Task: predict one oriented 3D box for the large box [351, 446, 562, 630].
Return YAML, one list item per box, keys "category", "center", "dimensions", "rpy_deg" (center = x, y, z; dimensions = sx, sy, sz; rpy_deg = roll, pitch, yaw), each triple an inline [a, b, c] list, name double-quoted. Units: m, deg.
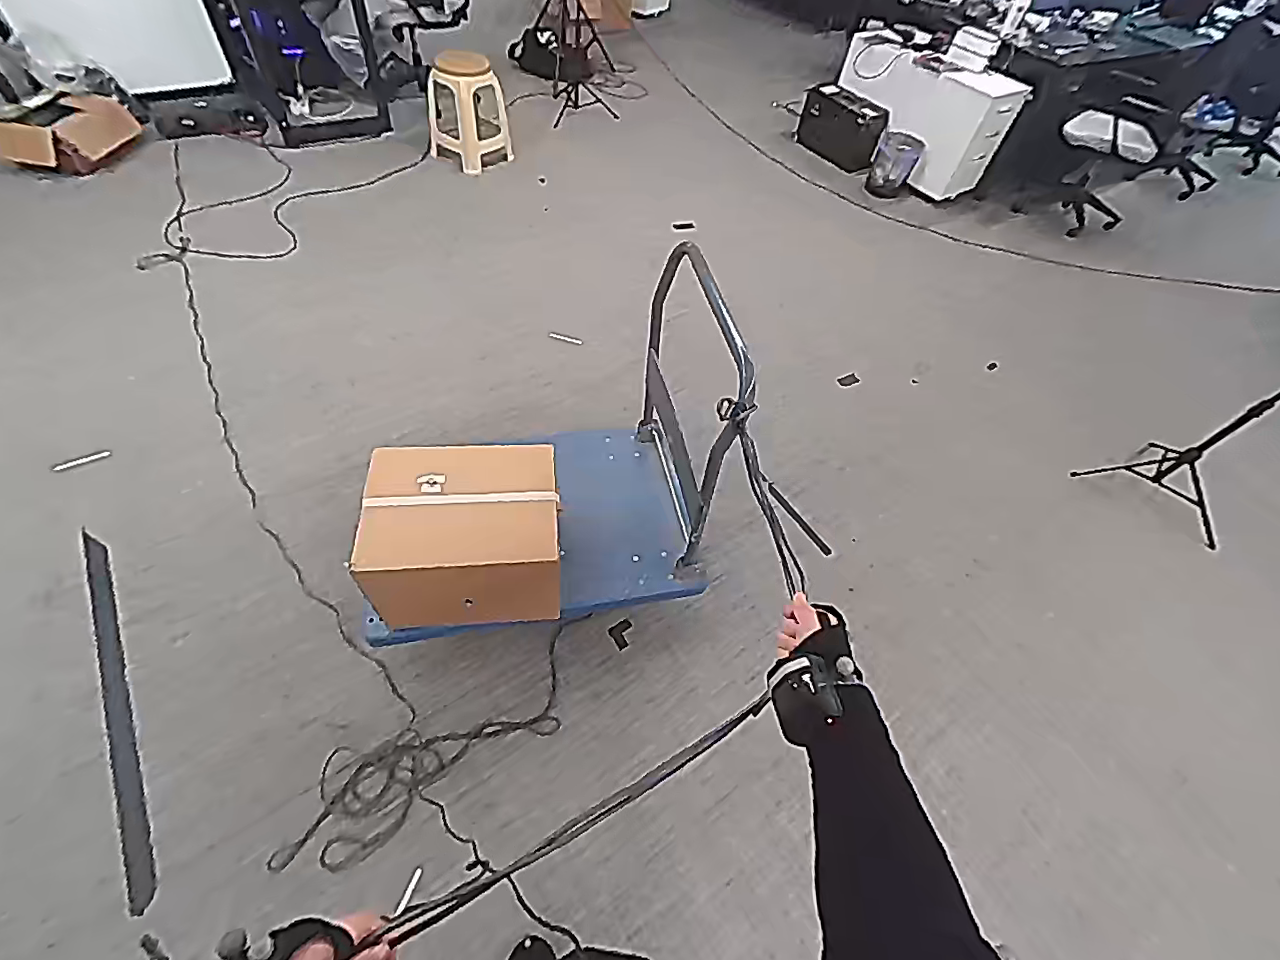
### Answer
- category: "large box"
  center: [-0.396, 0.140, 1.275]
  dimensions: [0.408, 0.320, 0.320]
  rpy_deg: [-2, 53, -9]
